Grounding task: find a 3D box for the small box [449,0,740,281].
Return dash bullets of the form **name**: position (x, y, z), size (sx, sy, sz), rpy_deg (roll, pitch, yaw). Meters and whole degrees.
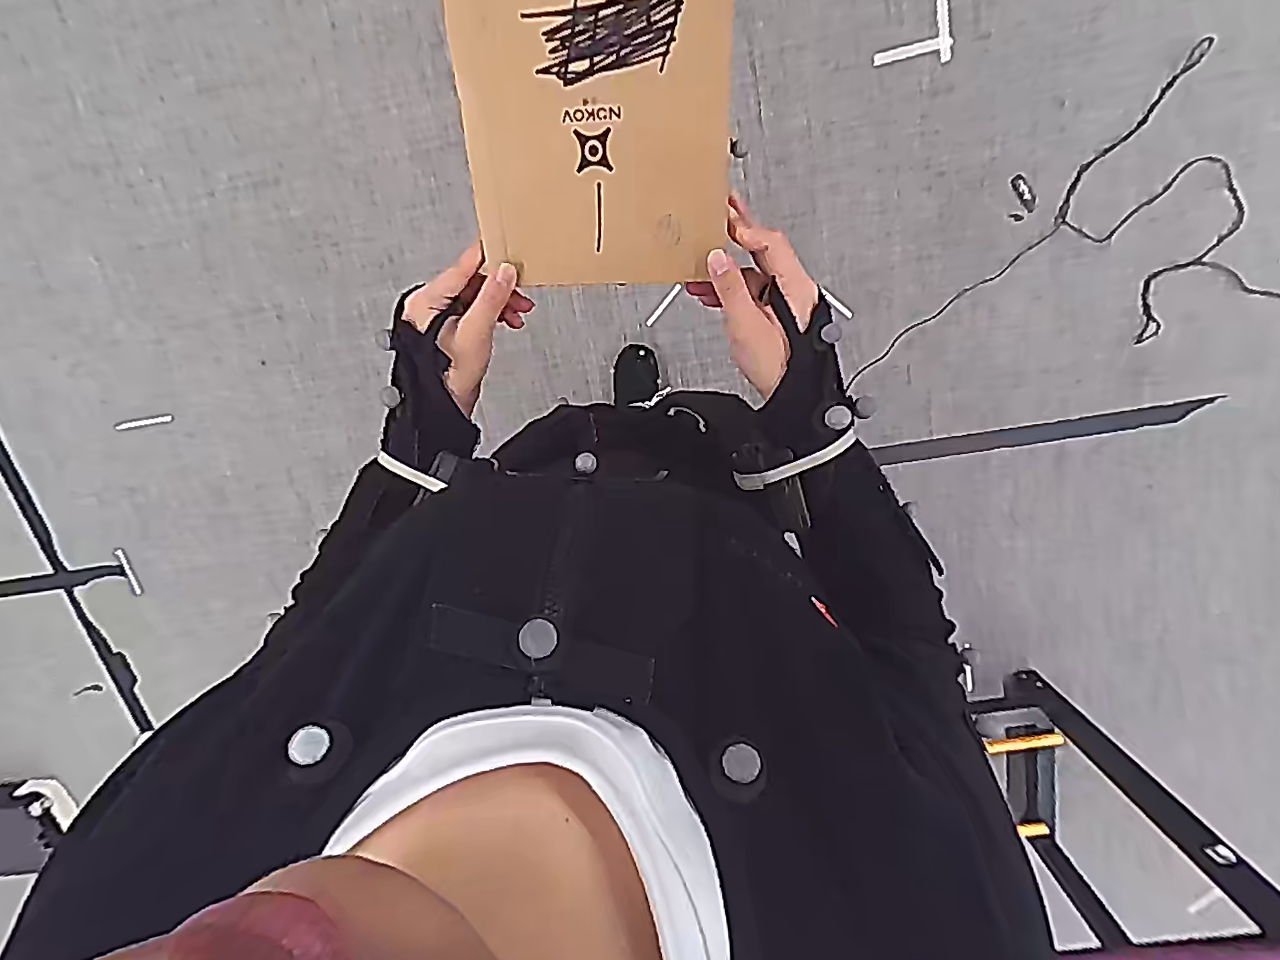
- **small box**: position (-0.018, -0.250, 0.396), size (0.168, 0.176, 0.179), rpy_deg (1, 119, 7)
